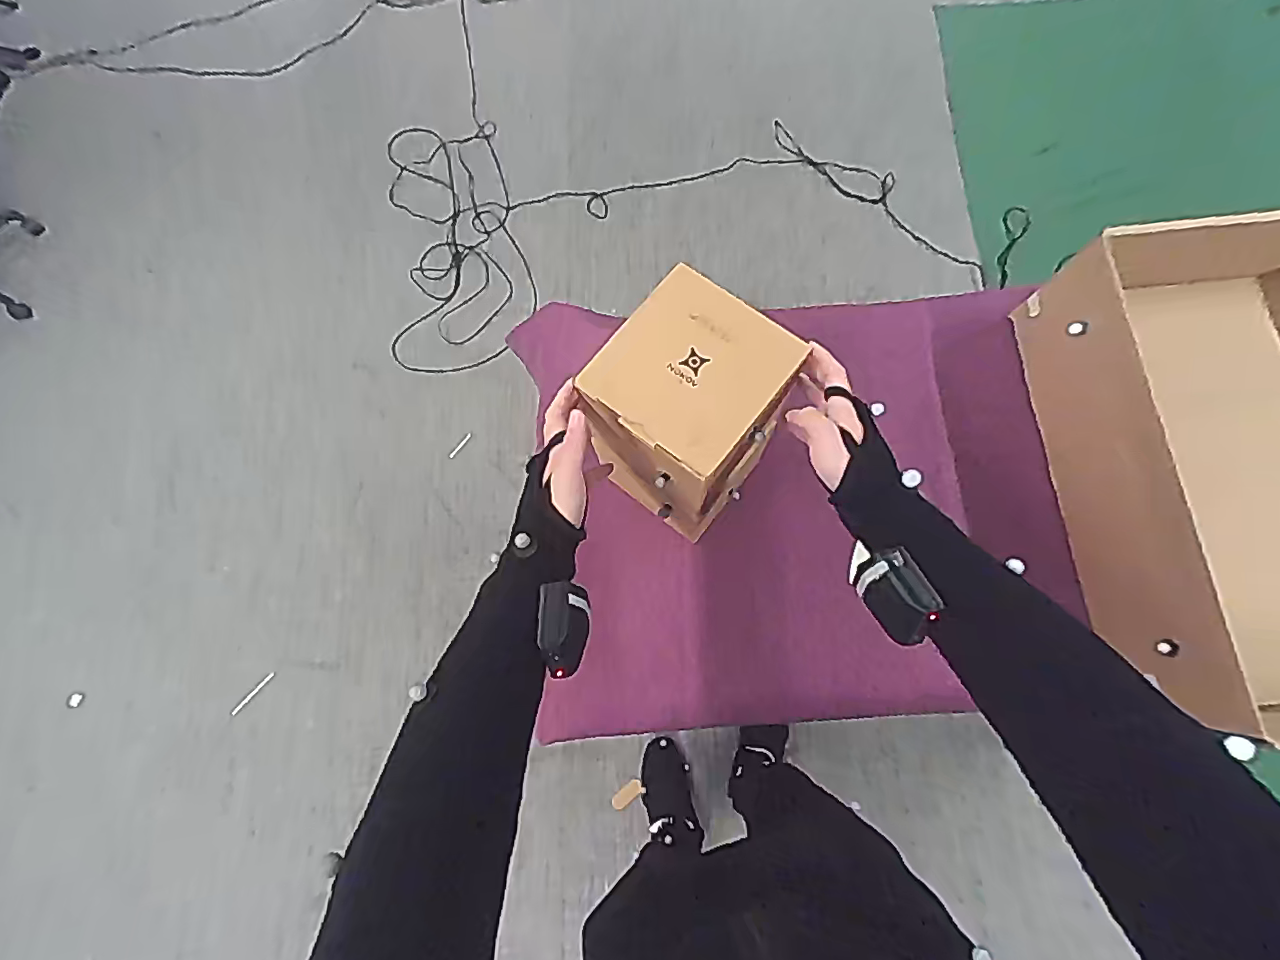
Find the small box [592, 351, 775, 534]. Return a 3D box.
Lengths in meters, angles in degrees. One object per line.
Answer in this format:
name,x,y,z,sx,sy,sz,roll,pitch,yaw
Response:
small box,0.059,-0.040,0.760,0.179,0.176,0.168,38,79,12
